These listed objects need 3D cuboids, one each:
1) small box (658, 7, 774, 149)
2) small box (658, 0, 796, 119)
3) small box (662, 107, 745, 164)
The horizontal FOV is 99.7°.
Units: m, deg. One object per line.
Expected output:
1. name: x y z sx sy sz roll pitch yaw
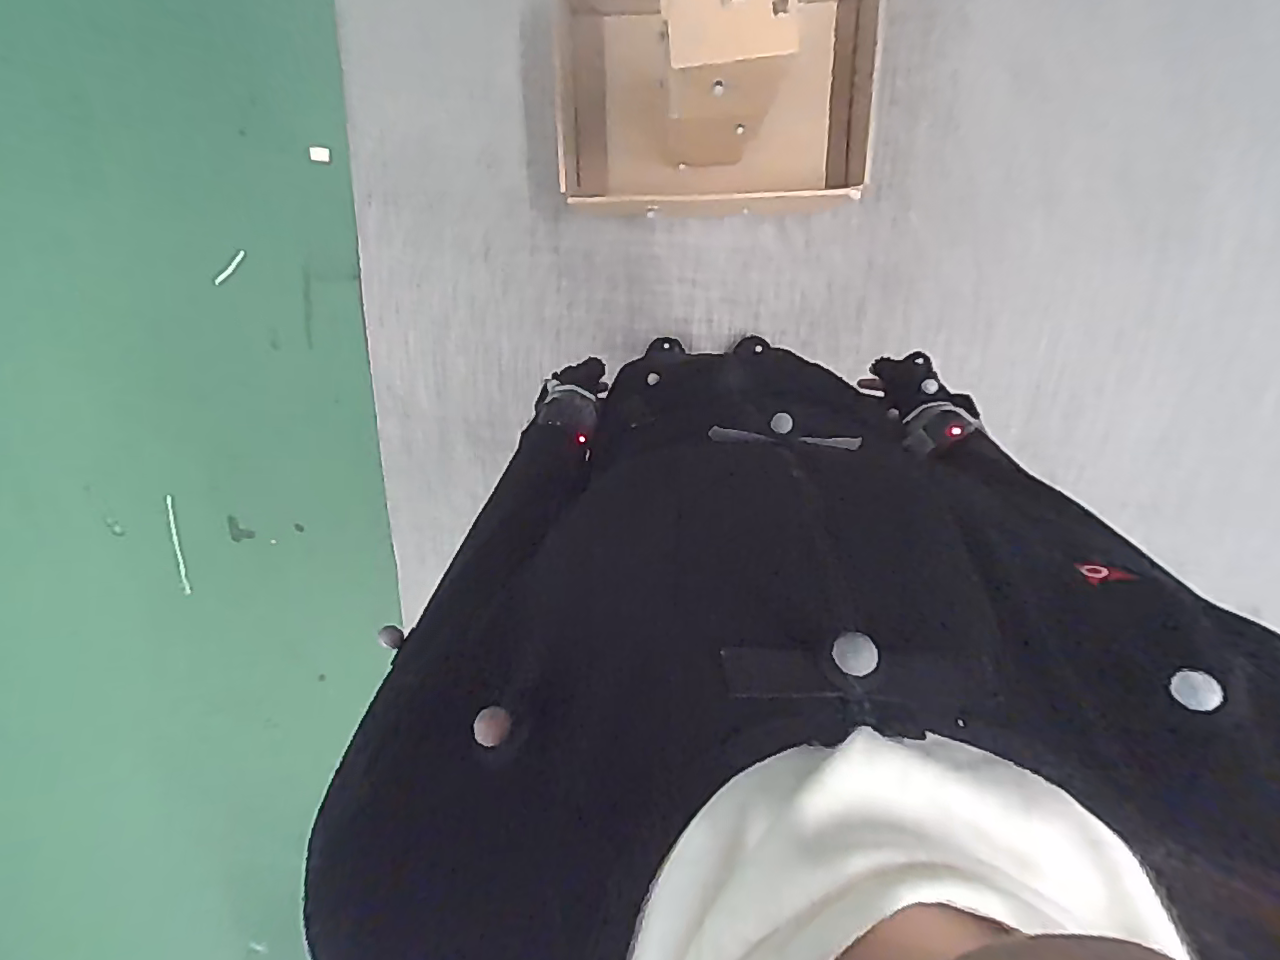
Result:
1. small box: 0.126 -0.702 0.940 0.179 0.176 0.168 -7 104 5
2. small box: 0.119 -0.667 0.799 0.179 0.176 0.168 -8 102 4
3. small box: 0.130 -0.764 1.107 0.168 0.176 0.179 0 105 4
